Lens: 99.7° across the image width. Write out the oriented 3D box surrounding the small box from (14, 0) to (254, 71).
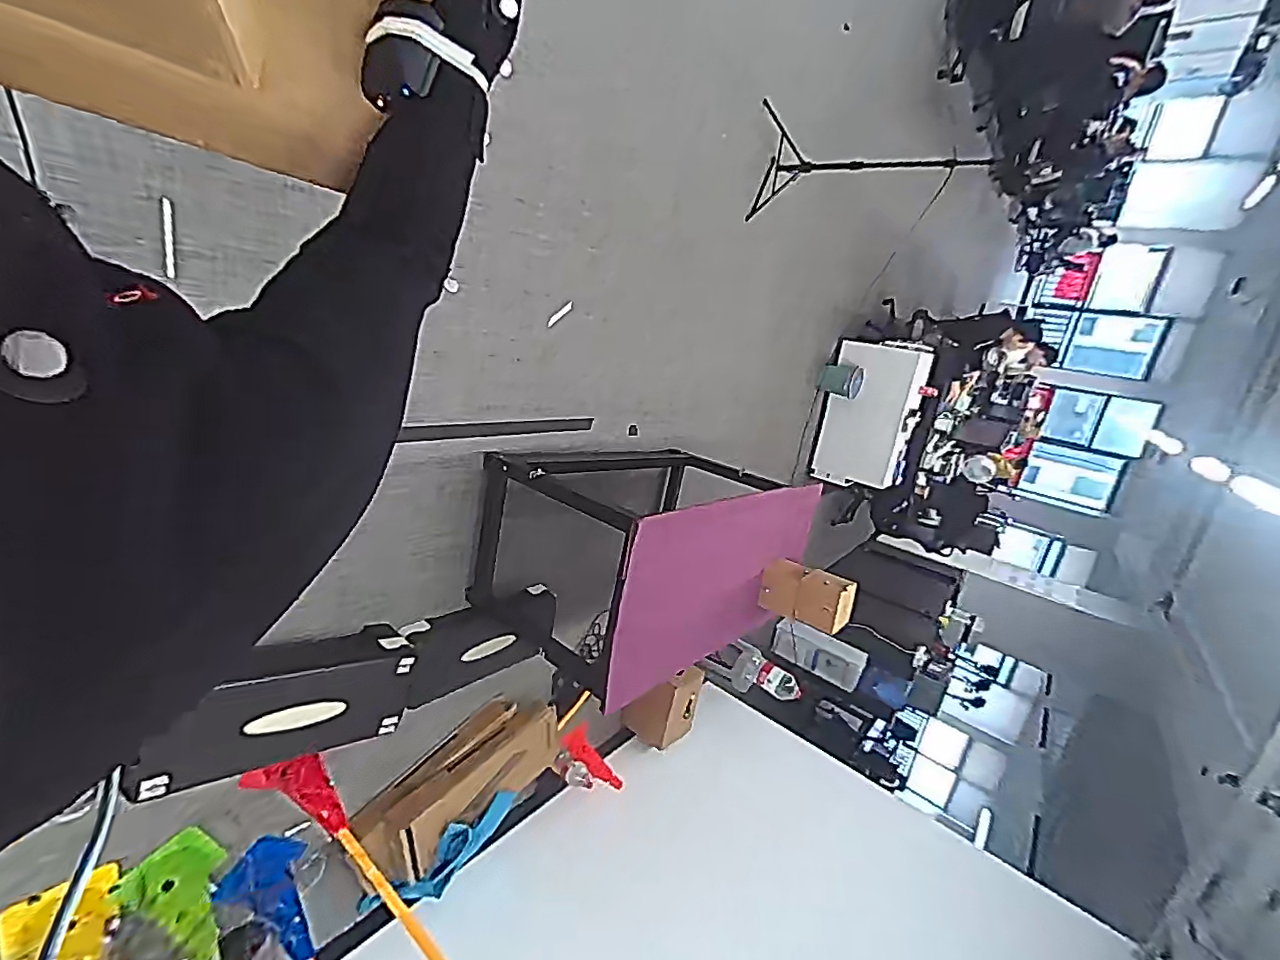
[{"bbox_3d":[-0.291,-0.335,0.255,0.179,0.176,0.168,6,104,-30],"label":"small box"}]
